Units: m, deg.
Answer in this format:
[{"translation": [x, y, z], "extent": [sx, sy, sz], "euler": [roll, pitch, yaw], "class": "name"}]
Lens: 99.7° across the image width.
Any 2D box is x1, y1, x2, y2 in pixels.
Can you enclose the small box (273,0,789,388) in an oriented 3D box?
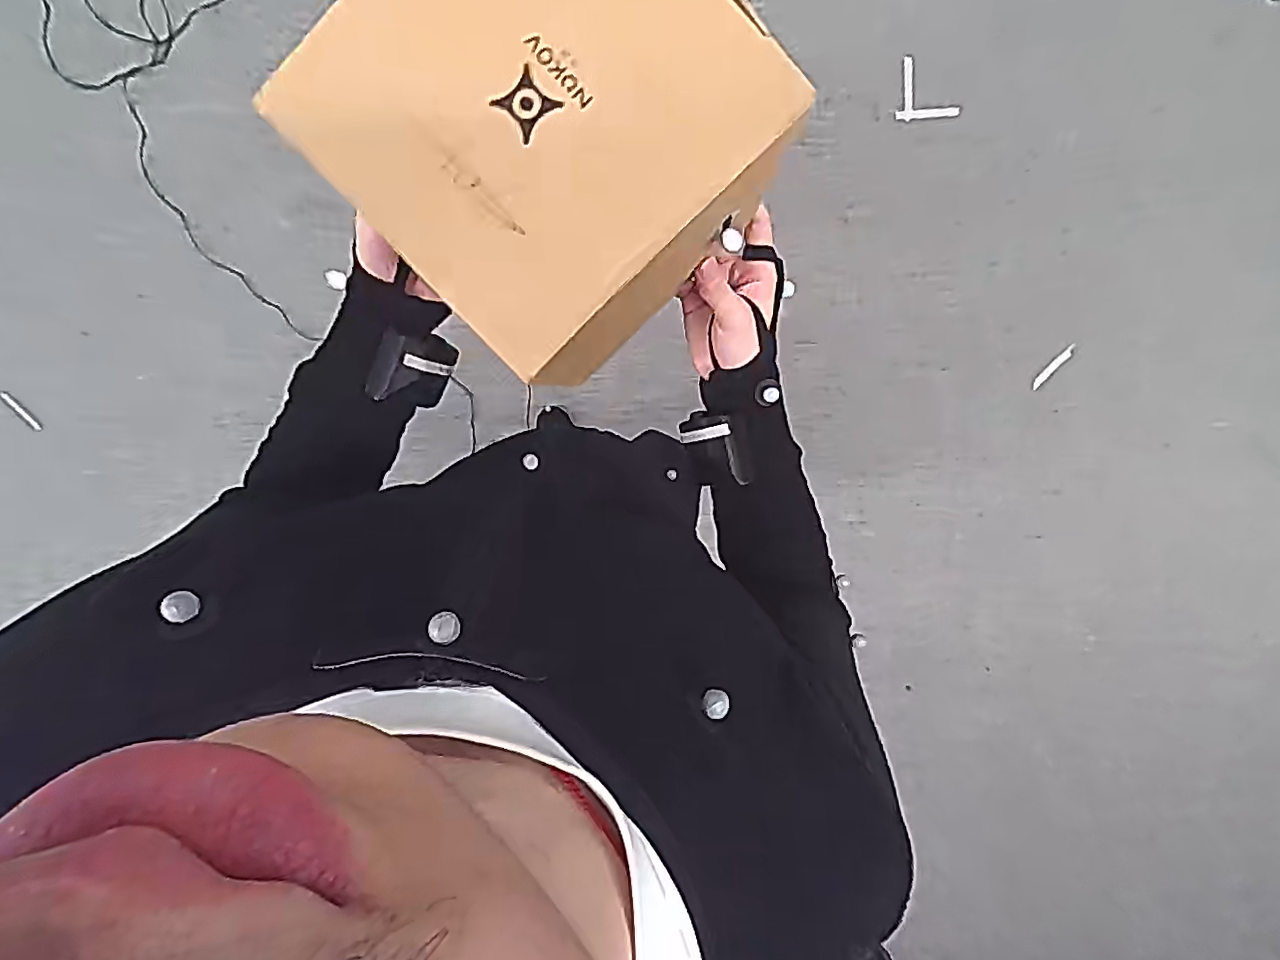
[{"translation": [-0.048, -0.173, 0.318], "extent": [0.168, 0.176, 0.179], "euler": [45, 99, -4], "class": "small box"}]
